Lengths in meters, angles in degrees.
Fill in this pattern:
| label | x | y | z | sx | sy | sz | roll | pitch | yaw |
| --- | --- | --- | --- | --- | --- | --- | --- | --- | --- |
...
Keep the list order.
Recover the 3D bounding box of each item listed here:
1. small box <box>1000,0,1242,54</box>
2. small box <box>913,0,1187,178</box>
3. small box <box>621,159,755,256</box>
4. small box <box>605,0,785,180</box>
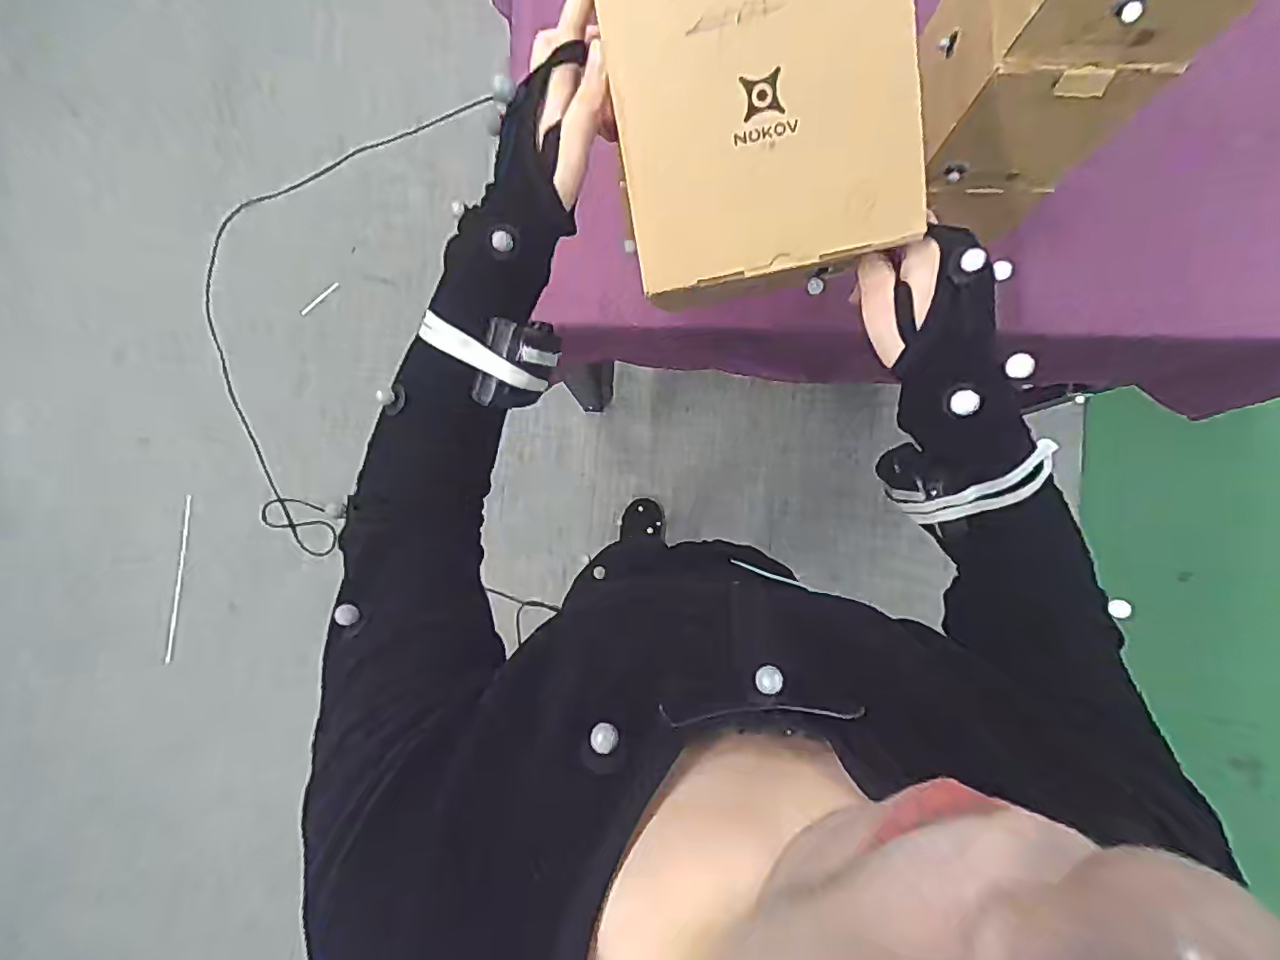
| label | x | y | z | sx | sy | sz | roll | pitch | yaw |
| --- | --- | --- | --- | --- | --- | --- | --- | --- | --- |
| small box | 0.400 | -0.469 | 0.404 | 0.168 | 0.176 | 0.179 | 1 | 86 | 3 |
| small box | 0.405 | -0.445 | 0.565 | 0.168 | 0.176 | 0.179 | 2 | 84 | 3 |
| small box | 0.067 | -0.436 | 0.746 | 0.168 | 0.176 | 0.179 | 3 | 85 | 4 |
| small box | 0.058 | -0.454 | 0.583 | 0.168 | 0.176 | 0.179 | 3 | 86 | 3 |
